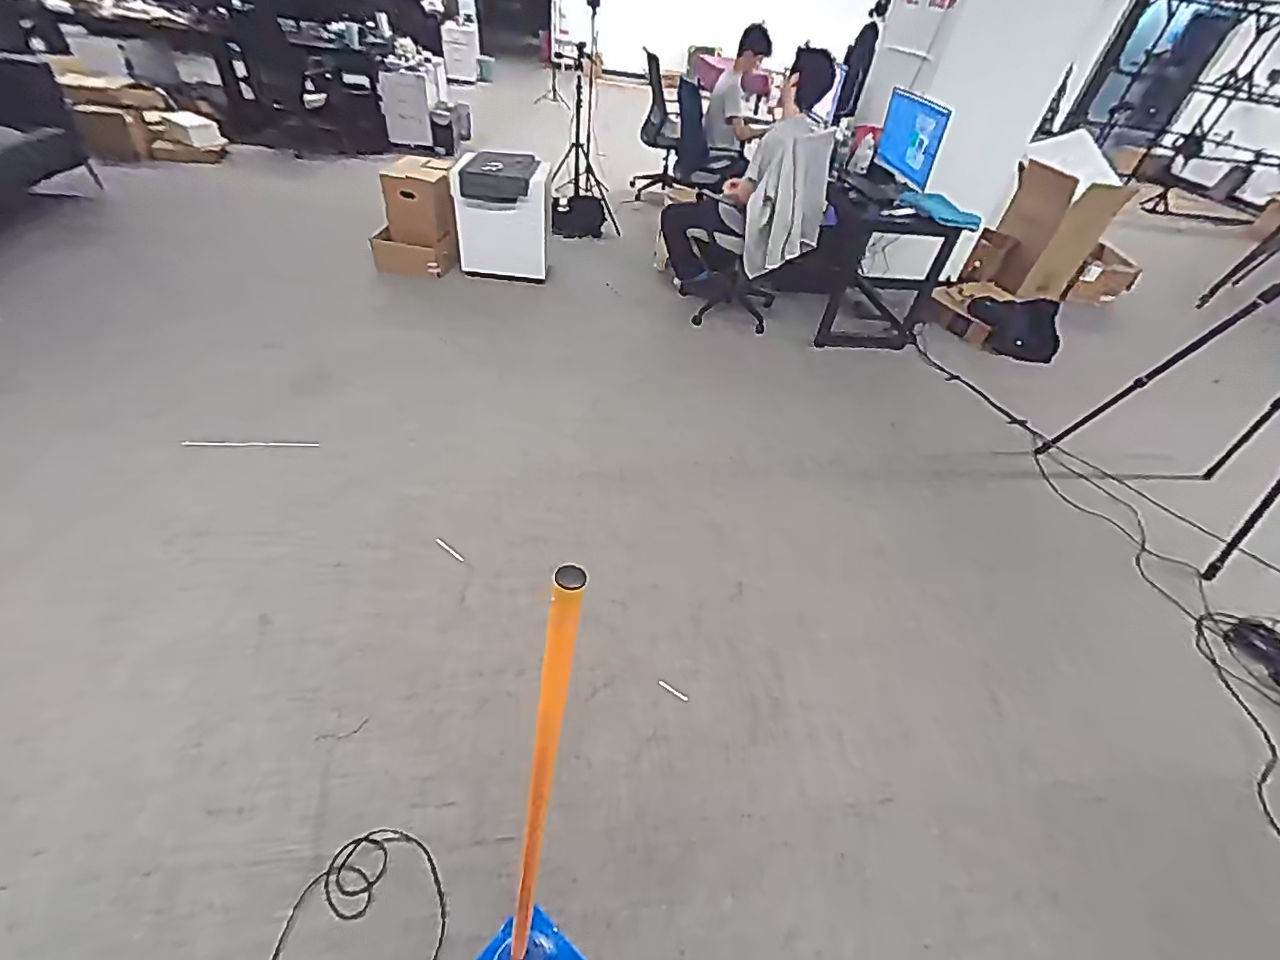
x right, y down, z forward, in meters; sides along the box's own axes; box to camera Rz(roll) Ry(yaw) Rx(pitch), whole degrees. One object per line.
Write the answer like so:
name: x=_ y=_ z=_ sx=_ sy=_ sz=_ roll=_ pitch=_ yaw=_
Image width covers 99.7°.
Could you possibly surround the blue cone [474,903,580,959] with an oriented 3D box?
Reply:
blue cone: x=-0.216 y=0.876 z=0.981 sx=0.192 sy=0.380 sz=0.193 roll=32 pitch=45 yaw=23
